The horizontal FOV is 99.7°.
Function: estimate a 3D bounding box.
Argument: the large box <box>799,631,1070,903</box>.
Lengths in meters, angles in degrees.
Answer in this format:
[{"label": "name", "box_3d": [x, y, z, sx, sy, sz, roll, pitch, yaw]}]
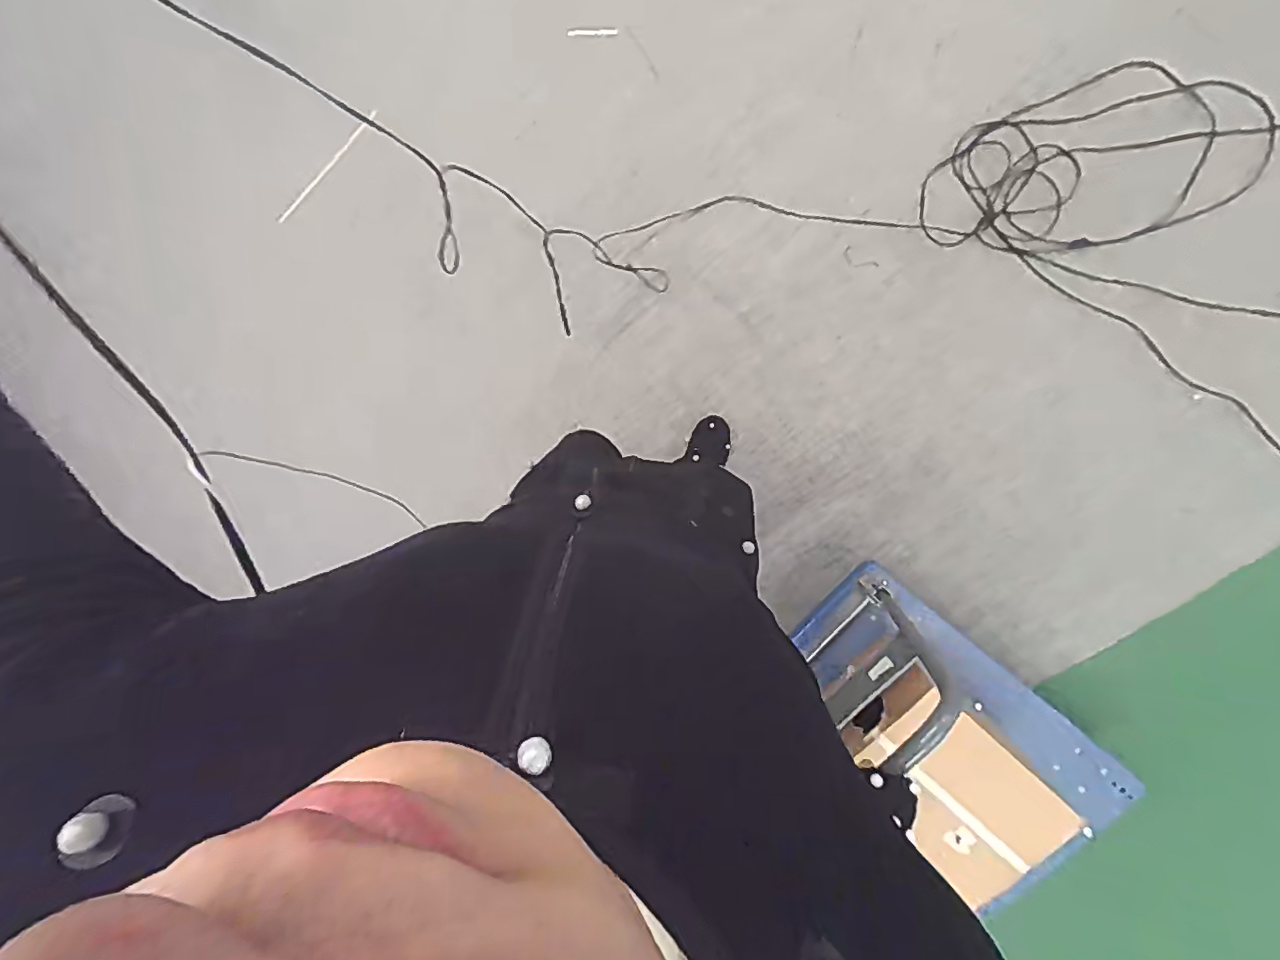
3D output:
[{"label": "large box", "box_3d": [0.646, 0.639, 1.270, 0.408, 0.320, 0.320, 42, 102, 2]}]
